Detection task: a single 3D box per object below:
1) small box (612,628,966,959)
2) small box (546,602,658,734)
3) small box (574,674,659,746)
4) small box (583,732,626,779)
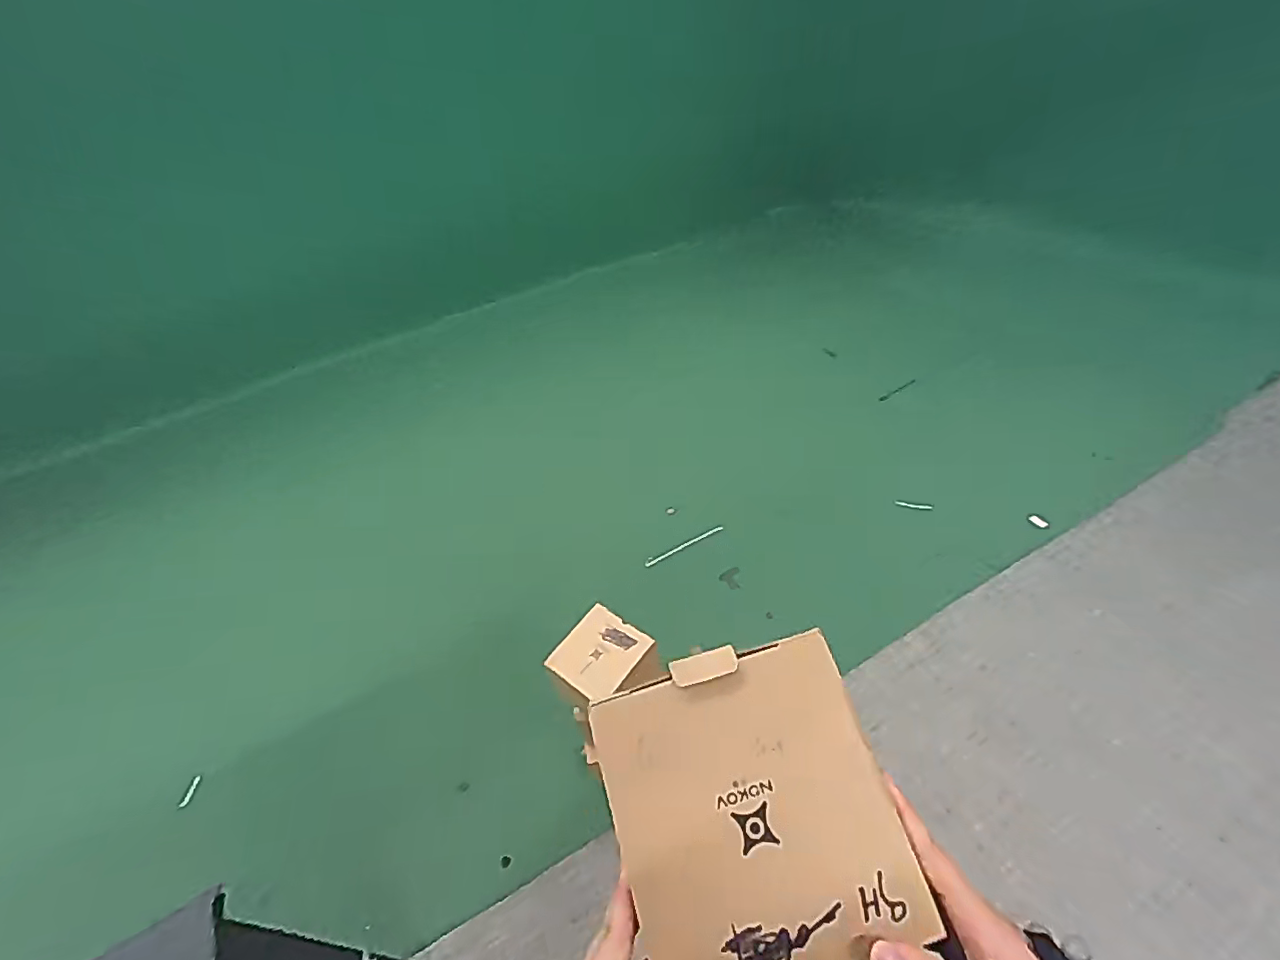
[{"bbox_3d":[0.084,0.223,0.397,0.168,0.176,0.179,-16,70,-1],"label":"small box"},{"bbox_3d":[-0.073,0.407,1.172,0.168,0.176,0.179,26,55,30],"label":"small box"},{"bbox_3d":[-0.045,0.521,1.288,0.168,0.176,0.179,2,44,10],"label":"small box"},{"bbox_3d":[-0.054,0.647,1.395,0.168,0.176,0.179,-13,43,-4],"label":"small box"}]
